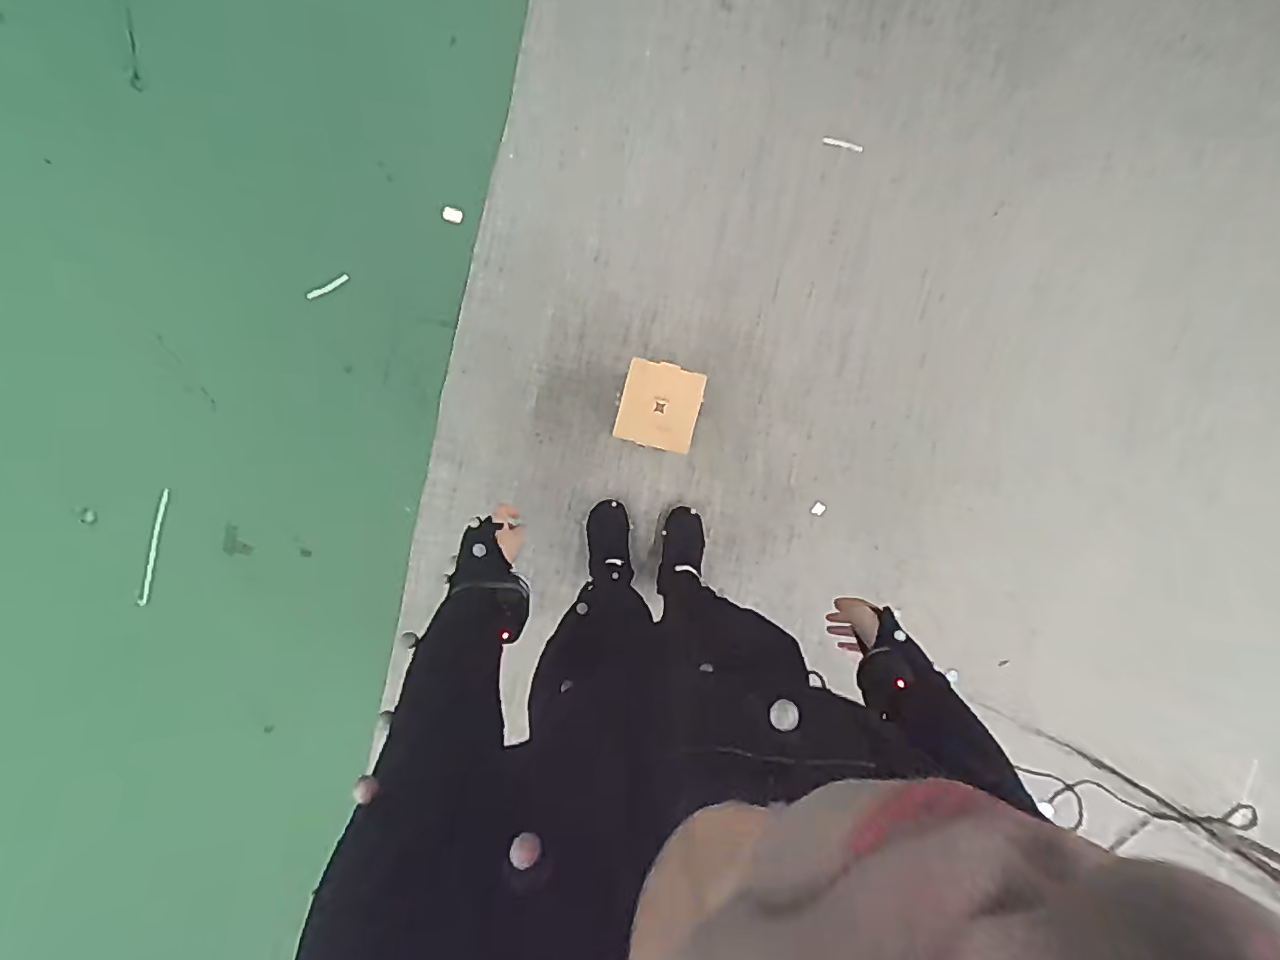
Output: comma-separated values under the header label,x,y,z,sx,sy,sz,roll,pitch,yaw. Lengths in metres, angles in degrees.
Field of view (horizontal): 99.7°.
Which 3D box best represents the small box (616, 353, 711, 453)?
label,x,y,z,sx,sy,sz,roll,pitch,yaw
small box,0.047,-0.165,1.198,0.168,0.176,0.179,14,94,-1
